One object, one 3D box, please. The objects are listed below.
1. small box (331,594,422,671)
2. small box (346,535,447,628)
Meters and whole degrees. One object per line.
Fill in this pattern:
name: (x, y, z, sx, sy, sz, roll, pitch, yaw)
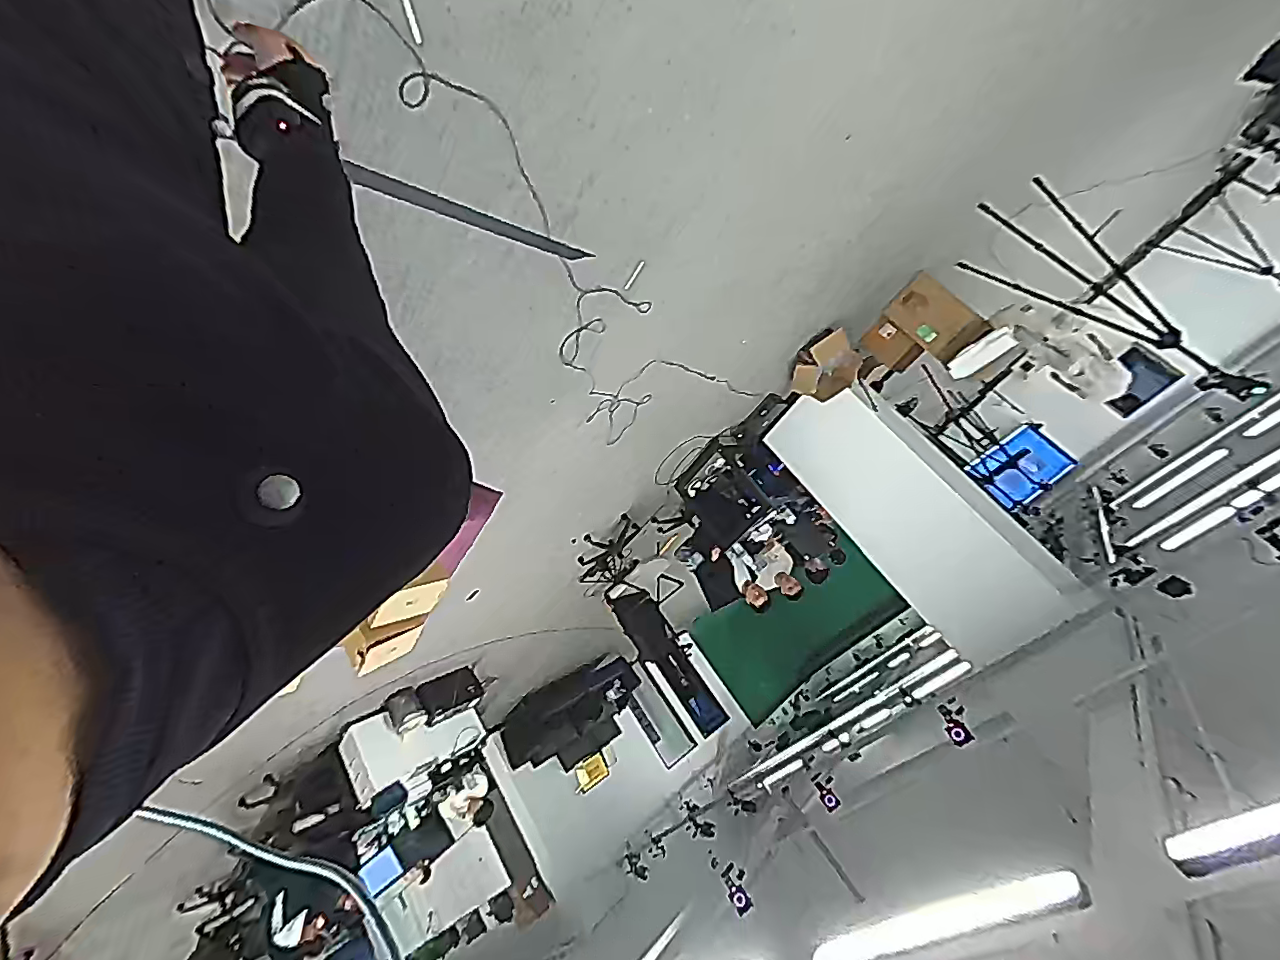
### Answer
small box: (-0.792, 0.433, 1.622, 0.179, 0.176, 0.168, -10, 145, -49)
small box: (-0.672, 0.271, 1.488, 0.179, 0.176, 0.168, -9, 144, -51)
